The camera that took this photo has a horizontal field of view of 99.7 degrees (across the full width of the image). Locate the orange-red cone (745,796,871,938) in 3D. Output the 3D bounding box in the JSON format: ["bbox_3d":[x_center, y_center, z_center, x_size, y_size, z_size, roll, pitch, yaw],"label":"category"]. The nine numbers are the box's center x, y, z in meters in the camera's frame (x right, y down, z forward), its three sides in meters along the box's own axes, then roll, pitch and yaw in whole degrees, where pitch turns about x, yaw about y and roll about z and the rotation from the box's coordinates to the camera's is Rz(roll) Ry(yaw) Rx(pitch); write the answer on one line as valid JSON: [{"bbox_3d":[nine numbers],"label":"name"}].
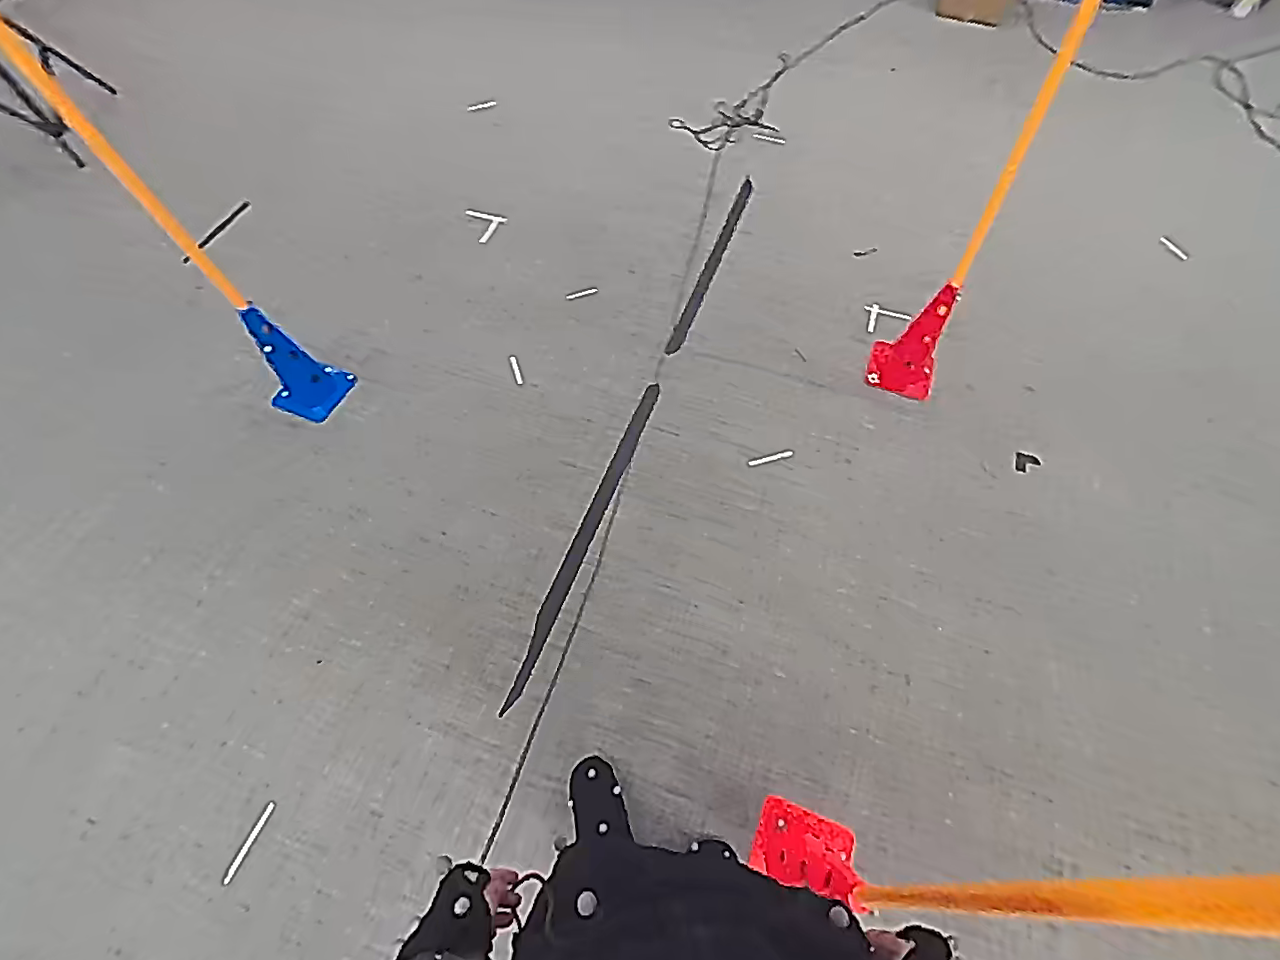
[{"bbox_3d":[0.332,0.713,0.967,0.198,0.360,0.199,21,65,12],"label":"orange-red cone"}]

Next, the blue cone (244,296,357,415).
[{"bbox_3d":[-1.029,-0.374,1.580,0.193,0.380,0.192,22,63,11],"label":"blue cone"}]
